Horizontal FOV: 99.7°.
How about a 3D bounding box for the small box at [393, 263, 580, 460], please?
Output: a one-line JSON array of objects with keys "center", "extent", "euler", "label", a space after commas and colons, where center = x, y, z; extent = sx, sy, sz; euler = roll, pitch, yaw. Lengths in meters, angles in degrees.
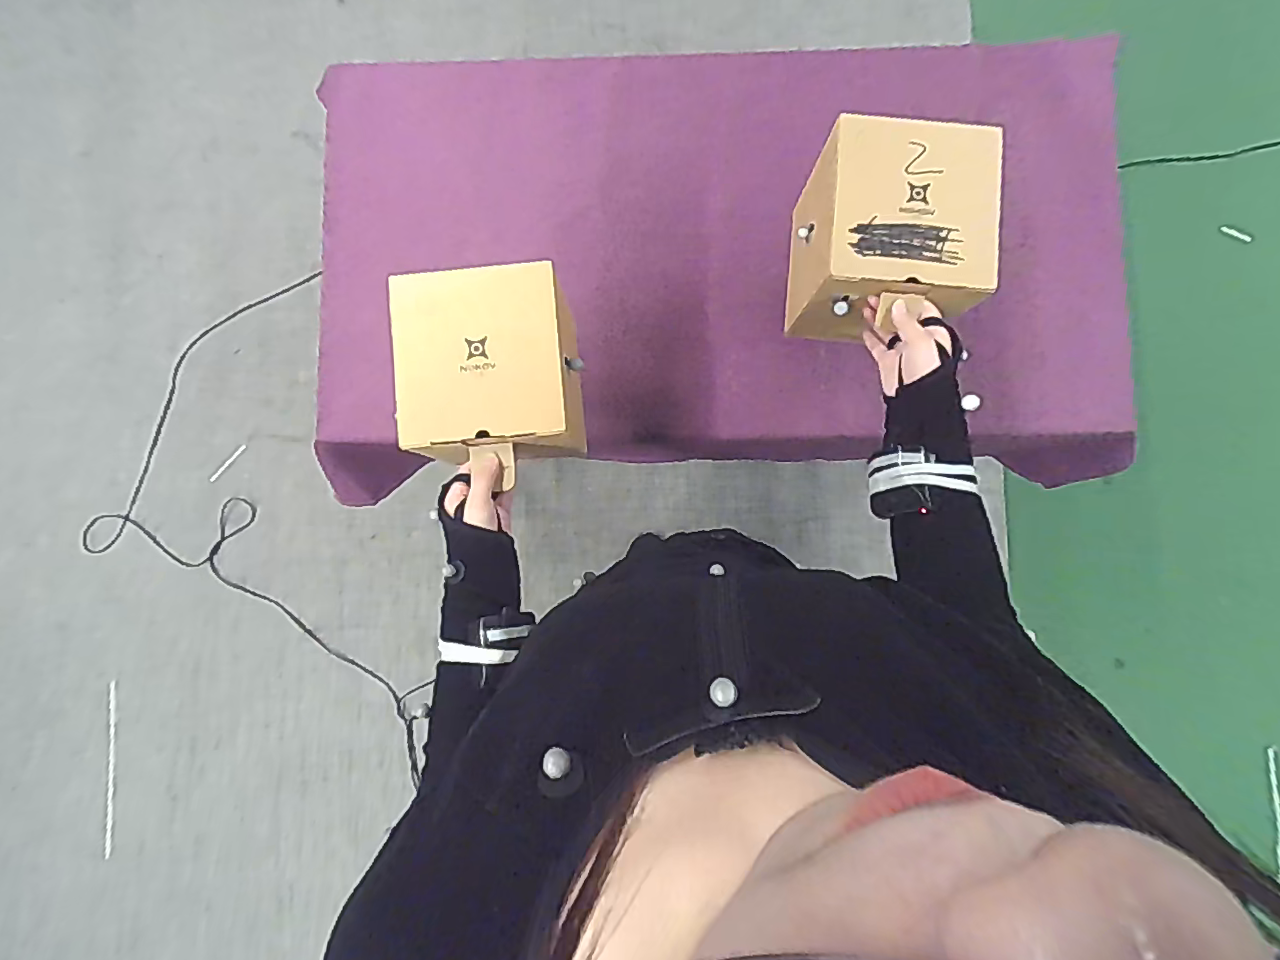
[{"center": [-0.164, -0.124, 0.624], "extent": [0.168, 0.176, 0.179], "euler": [-5, 86, 0], "label": "small box"}]
